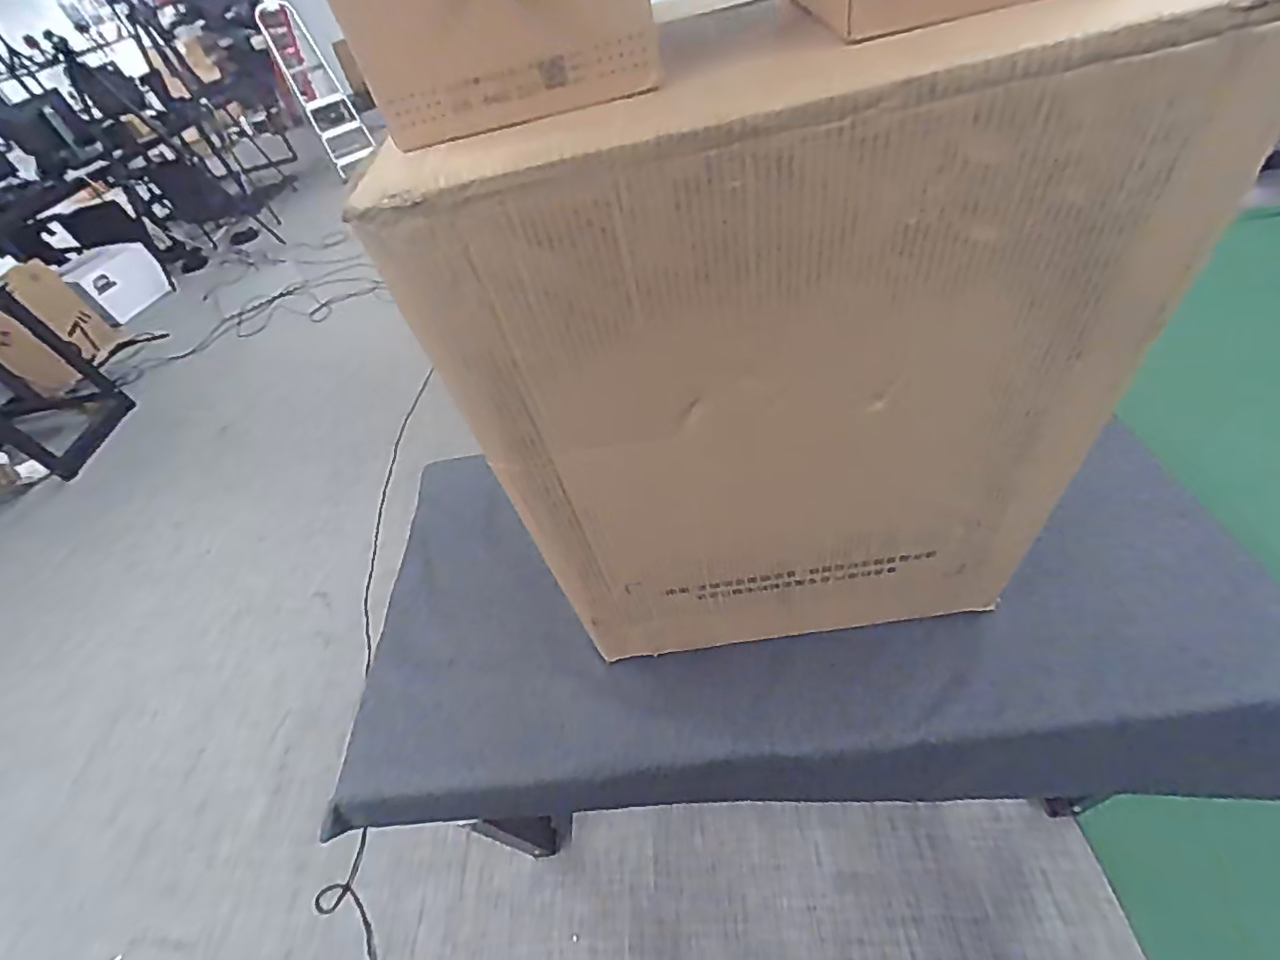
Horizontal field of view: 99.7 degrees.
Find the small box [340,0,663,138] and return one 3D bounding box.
[{"bbox_3d":[-0.083,-0.327,0.318,0.168,0.176,0.179,-9,50,5],"label":"small box"}]
